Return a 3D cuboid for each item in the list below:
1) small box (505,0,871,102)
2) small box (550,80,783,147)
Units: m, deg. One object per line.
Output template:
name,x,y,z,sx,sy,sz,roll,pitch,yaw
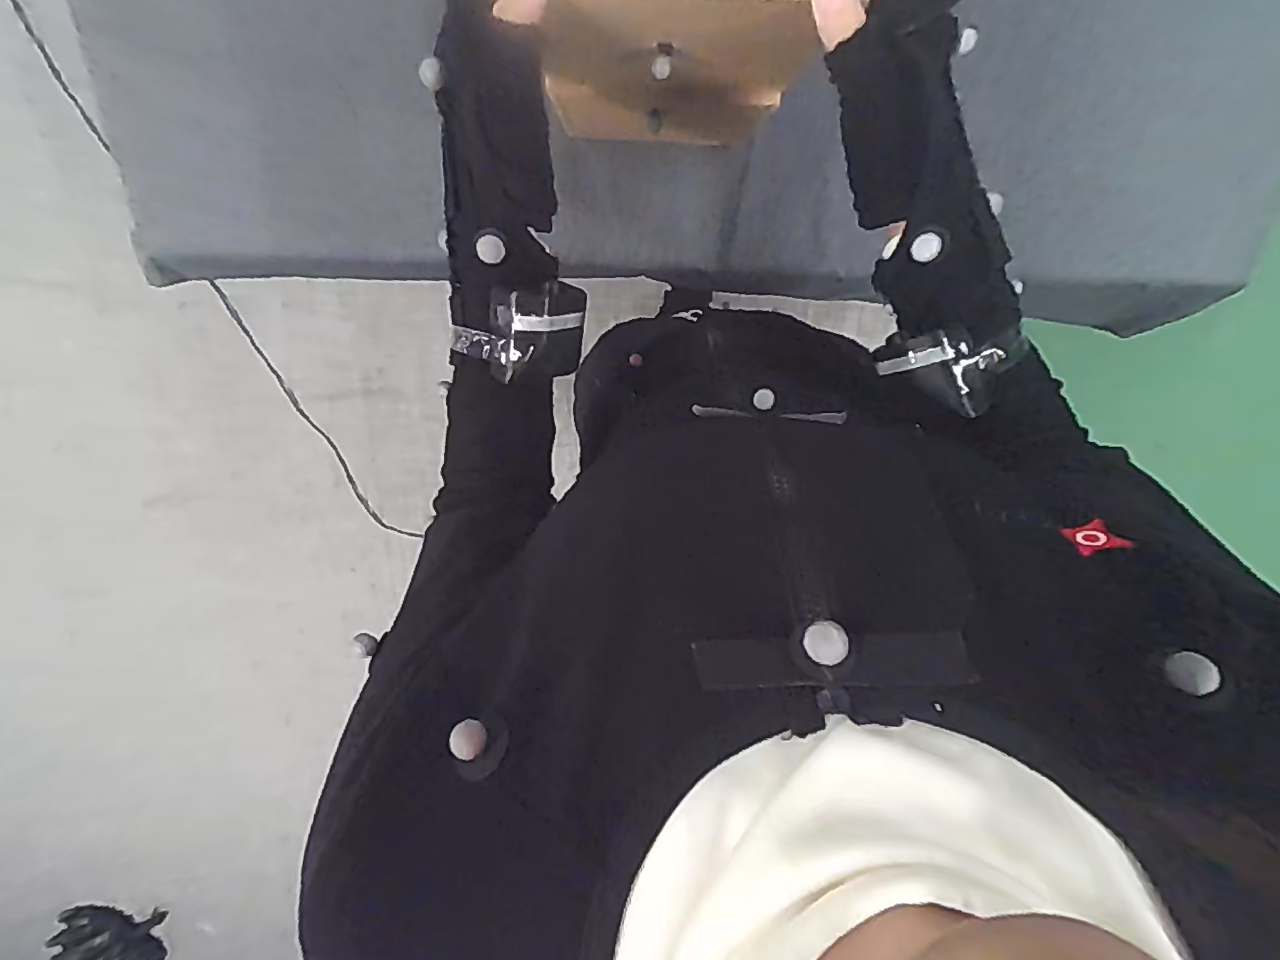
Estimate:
small box,0.024,-0.326,0.298,0.179,0.176,0.168,1,114,0
small box,0.021,-0.387,0.450,0.179,0.176,0.168,1,114,-3
